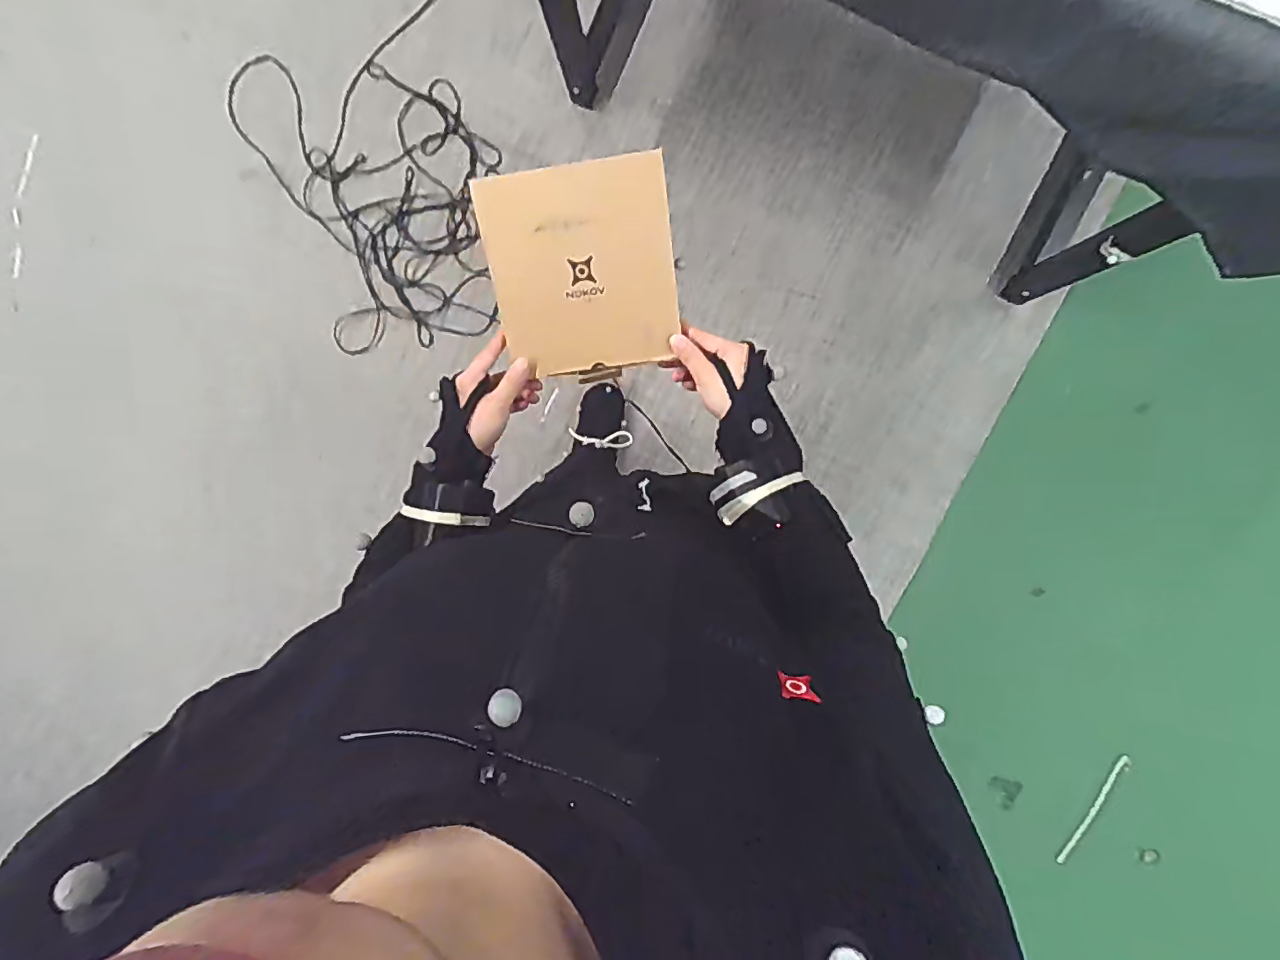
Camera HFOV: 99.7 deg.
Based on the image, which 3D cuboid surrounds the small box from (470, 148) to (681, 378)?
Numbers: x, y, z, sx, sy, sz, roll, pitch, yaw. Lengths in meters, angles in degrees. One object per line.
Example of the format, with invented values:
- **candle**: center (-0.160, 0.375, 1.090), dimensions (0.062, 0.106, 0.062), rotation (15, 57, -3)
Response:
- **small box**: center (-0.050, -0.218, 0.551), dimensions (0.168, 0.176, 0.179), rotation (-8, 114, 3)

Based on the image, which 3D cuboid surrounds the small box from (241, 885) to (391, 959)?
- **small box**: center (-0.490, 0.742, 0.766), dimensions (0.168, 0.176, 0.179), rotation (27, 96, 2)
